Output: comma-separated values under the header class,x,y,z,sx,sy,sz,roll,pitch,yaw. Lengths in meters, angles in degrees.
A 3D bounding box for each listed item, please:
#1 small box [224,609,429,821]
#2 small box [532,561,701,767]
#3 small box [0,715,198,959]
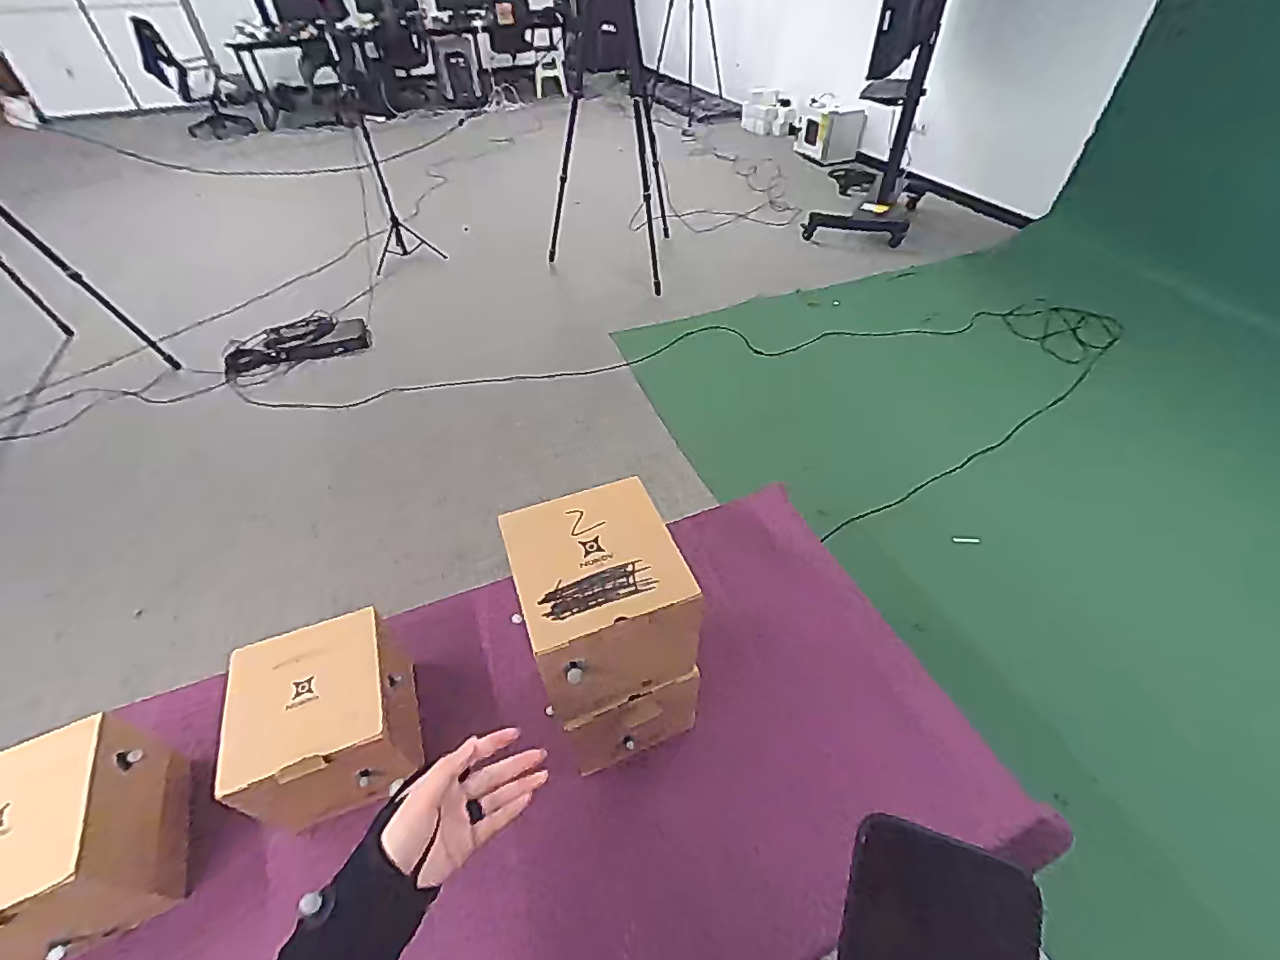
class,x,y,z,sx,sy,sz,roll,pitch,yaw
small box,-0.379,0.300,0.683,0.168,0.176,0.179,-16,47,-15
small box,-0.033,0.245,0.723,0.168,0.176,0.179,-18,49,-15
small box,-0.626,0.402,0.592,0.168,0.176,0.179,-22,49,-18
